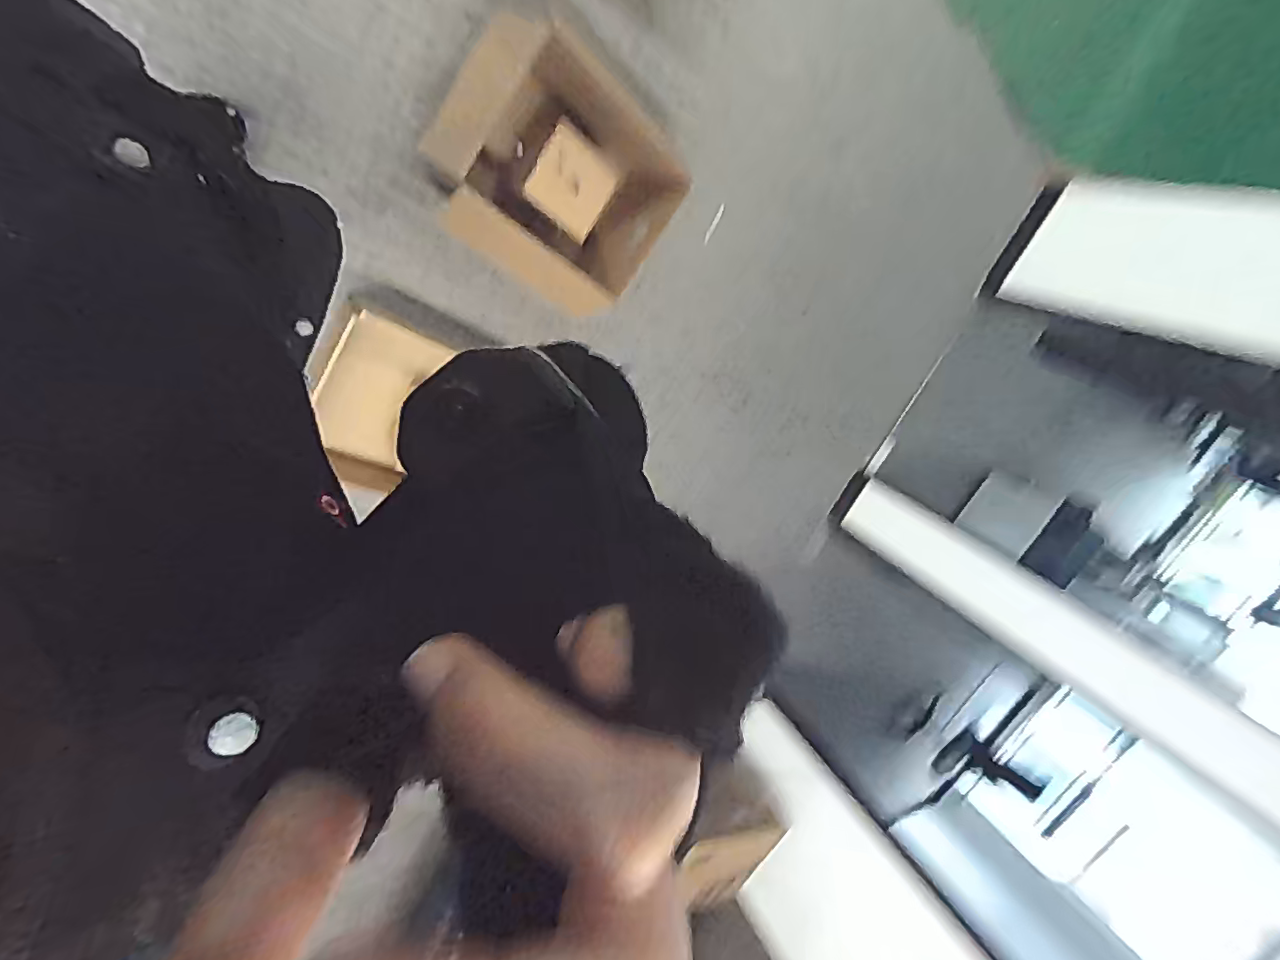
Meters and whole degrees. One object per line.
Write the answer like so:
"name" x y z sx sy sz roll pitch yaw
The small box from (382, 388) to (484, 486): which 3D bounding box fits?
"small box" -0.526 -0.110 1.362 0.179 0.176 0.168 17 109 -40
